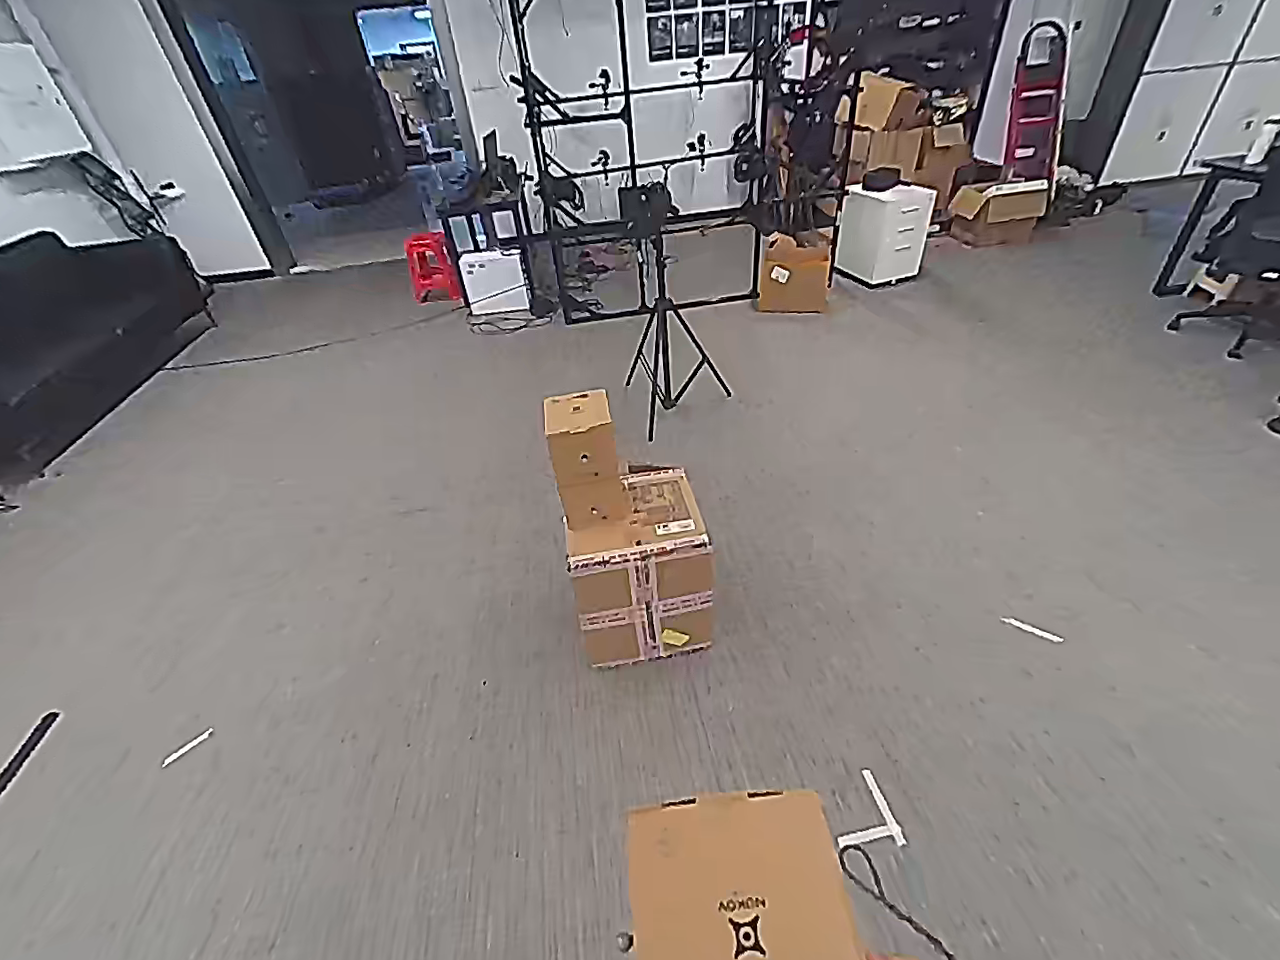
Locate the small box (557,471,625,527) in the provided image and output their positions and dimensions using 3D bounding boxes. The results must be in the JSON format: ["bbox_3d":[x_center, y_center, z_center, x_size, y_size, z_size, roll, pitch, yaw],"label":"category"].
[{"bbox_3d":[-0.143,0.006,1.539,0.168,0.176,0.179,-12,41,-3],"label":"small box"}]

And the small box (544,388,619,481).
[{"bbox_3d":[-0.154,-0.114,1.426,0.168,0.176,0.179,-11,41,-3],"label":"small box"}]

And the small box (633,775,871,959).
[{"bbox_3d":[0.082,0.380,0.464,0.168,0.176,0.179,-5,46,-3],"label":"small box"}]
